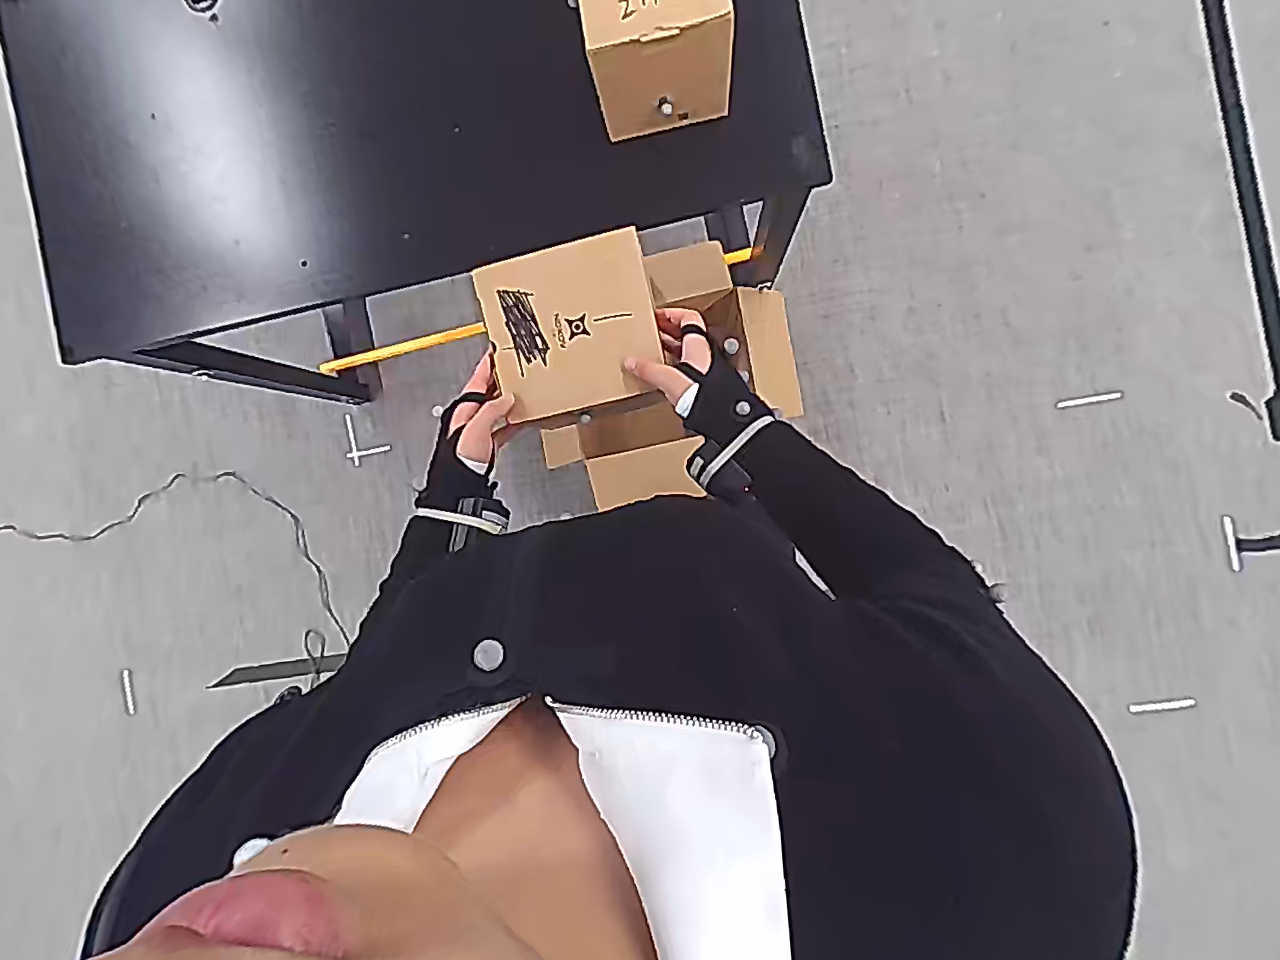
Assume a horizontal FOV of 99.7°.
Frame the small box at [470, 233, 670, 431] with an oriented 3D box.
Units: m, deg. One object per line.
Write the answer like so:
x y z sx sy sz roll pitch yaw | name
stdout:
-0.067 -0.154 0.628 0.179 0.176 0.168 -12 92 6 | small box

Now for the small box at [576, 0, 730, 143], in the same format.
0.014 -0.567 0.672 0.168 0.176 0.179 -9 90 7 | small box
